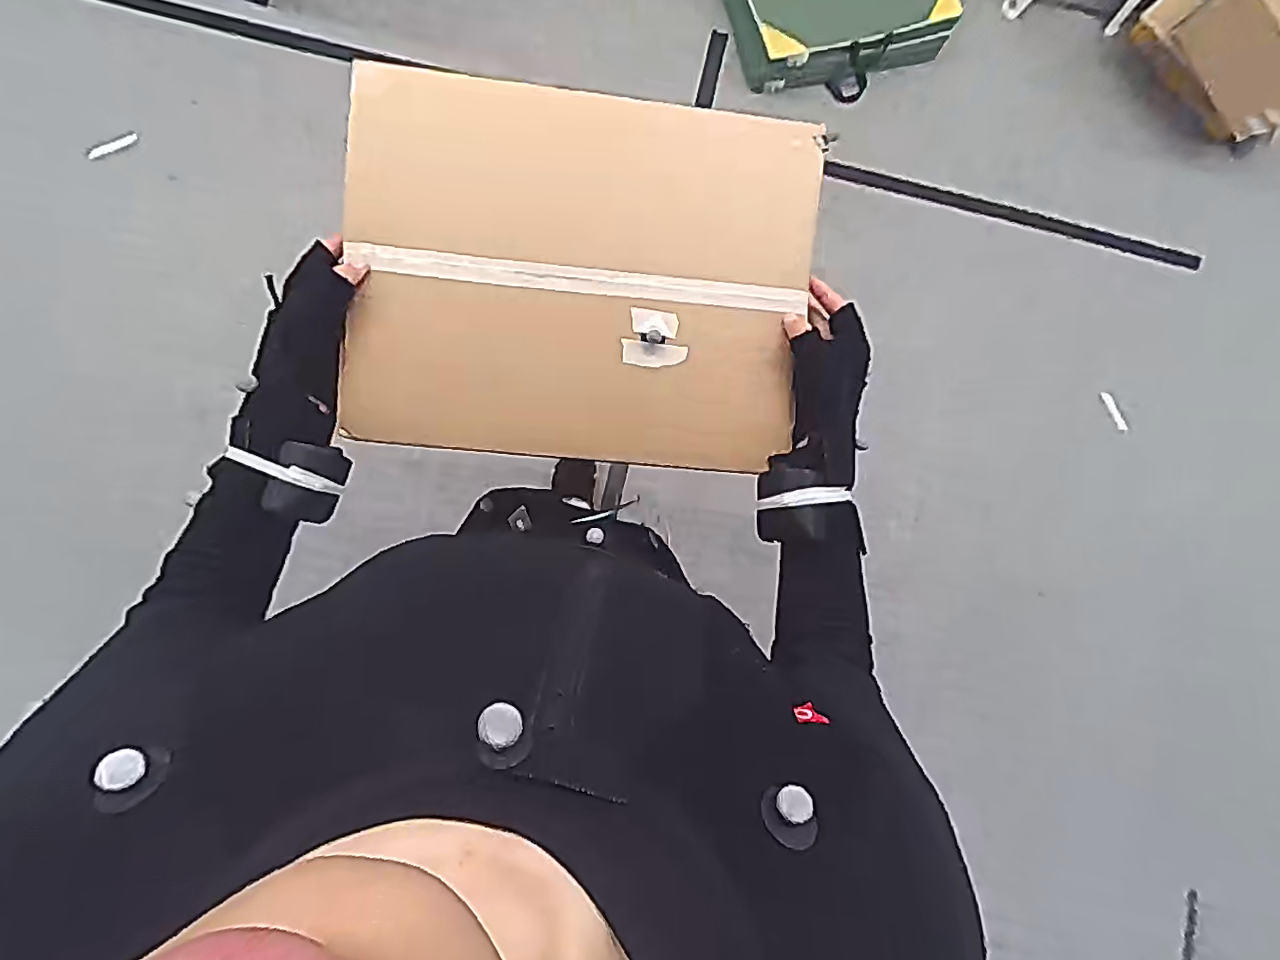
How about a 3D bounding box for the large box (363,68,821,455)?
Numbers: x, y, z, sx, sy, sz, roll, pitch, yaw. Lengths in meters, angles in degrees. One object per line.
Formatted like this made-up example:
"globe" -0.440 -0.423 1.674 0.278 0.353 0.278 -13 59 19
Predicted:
"large box" -0.055 -0.201 0.636 0.408 0.320 0.320 5 96 -5
